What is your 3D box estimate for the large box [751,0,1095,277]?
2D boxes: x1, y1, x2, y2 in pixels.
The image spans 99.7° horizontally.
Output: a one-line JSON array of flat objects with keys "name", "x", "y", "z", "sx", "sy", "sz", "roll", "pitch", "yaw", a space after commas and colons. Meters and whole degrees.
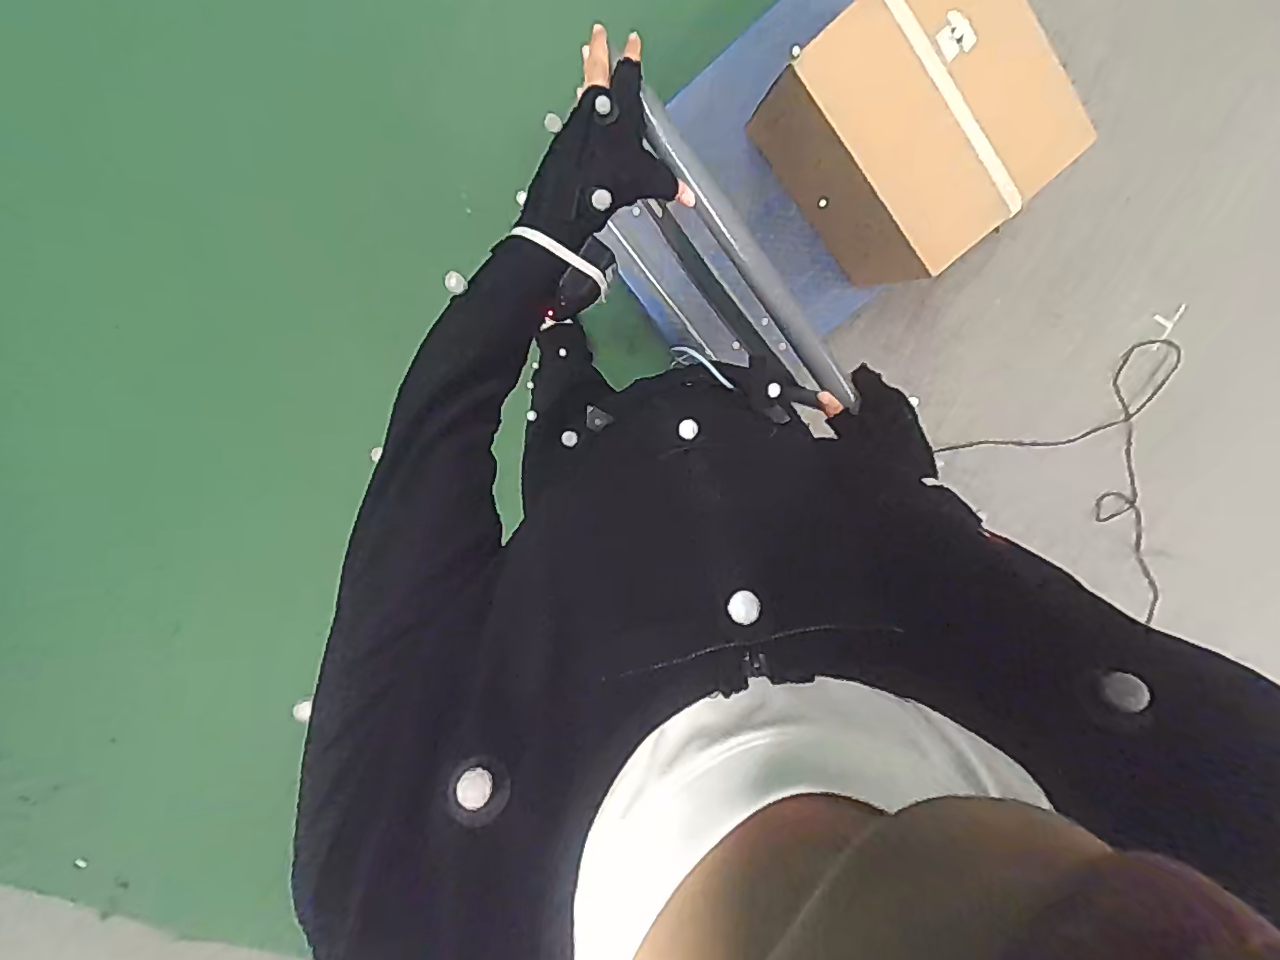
[{"name": "large box", "x": 0.466, "y": -0.631, "z": 0.969, "sx": 0.320, "sy": 0.320, "sz": 0.408, "roll": -41, "pitch": 103, "yaw": 10}]
